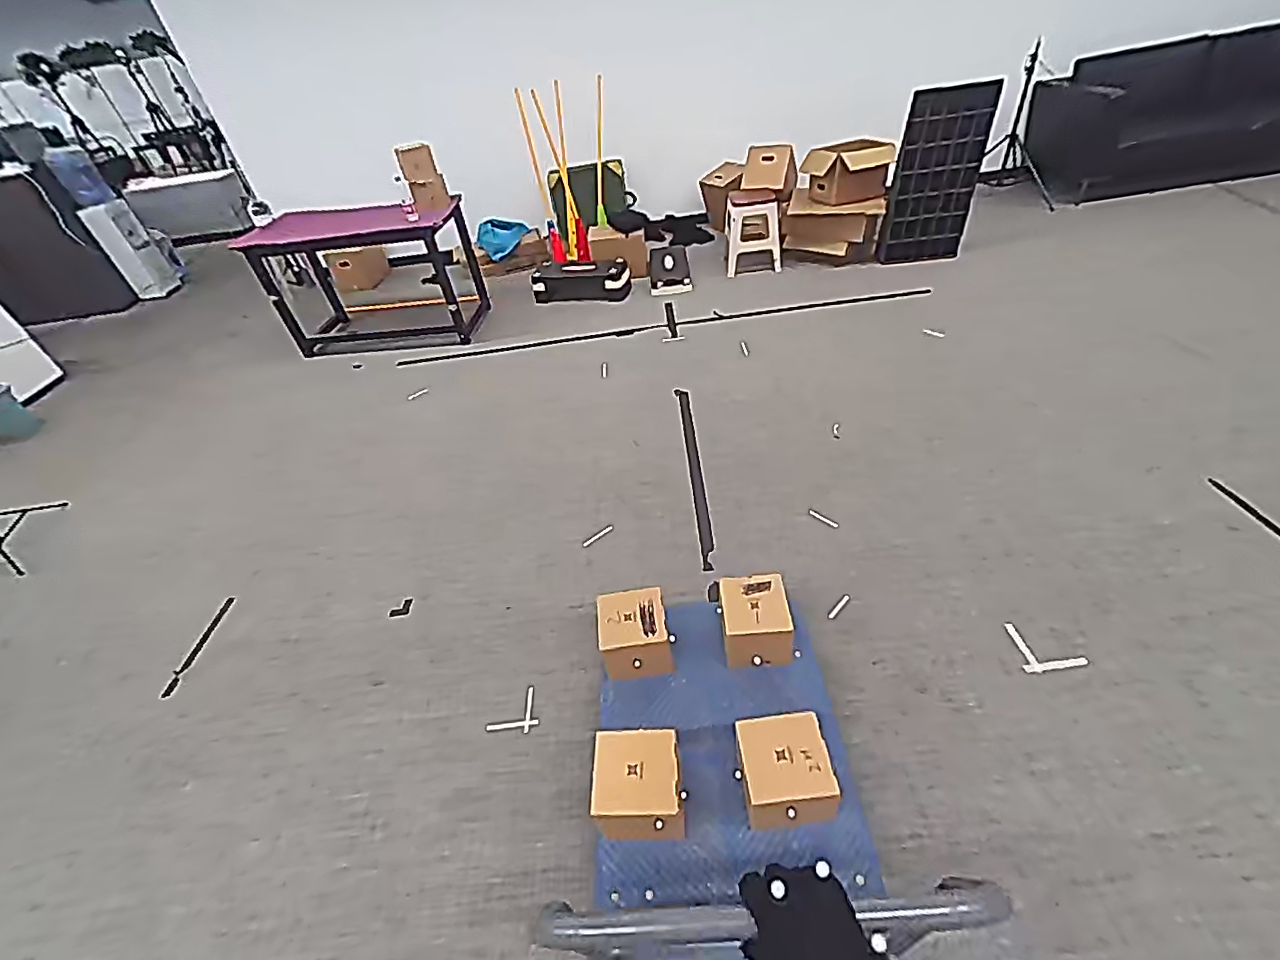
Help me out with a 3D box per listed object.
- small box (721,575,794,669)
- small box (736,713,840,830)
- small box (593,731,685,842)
[{"bbox_3d":[0.304,0.377,1.435,0.168,0.176,0.179,-6,42,4],"label":"small box"},{"bbox_3d":[0.309,0.625,1.154,0.179,0.176,0.168,-8,41,2],"label":"small box"},{"bbox_3d":[0.002,0.664,1.169,0.179,0.176,0.168,-4,41,4],"label":"small box"}]
